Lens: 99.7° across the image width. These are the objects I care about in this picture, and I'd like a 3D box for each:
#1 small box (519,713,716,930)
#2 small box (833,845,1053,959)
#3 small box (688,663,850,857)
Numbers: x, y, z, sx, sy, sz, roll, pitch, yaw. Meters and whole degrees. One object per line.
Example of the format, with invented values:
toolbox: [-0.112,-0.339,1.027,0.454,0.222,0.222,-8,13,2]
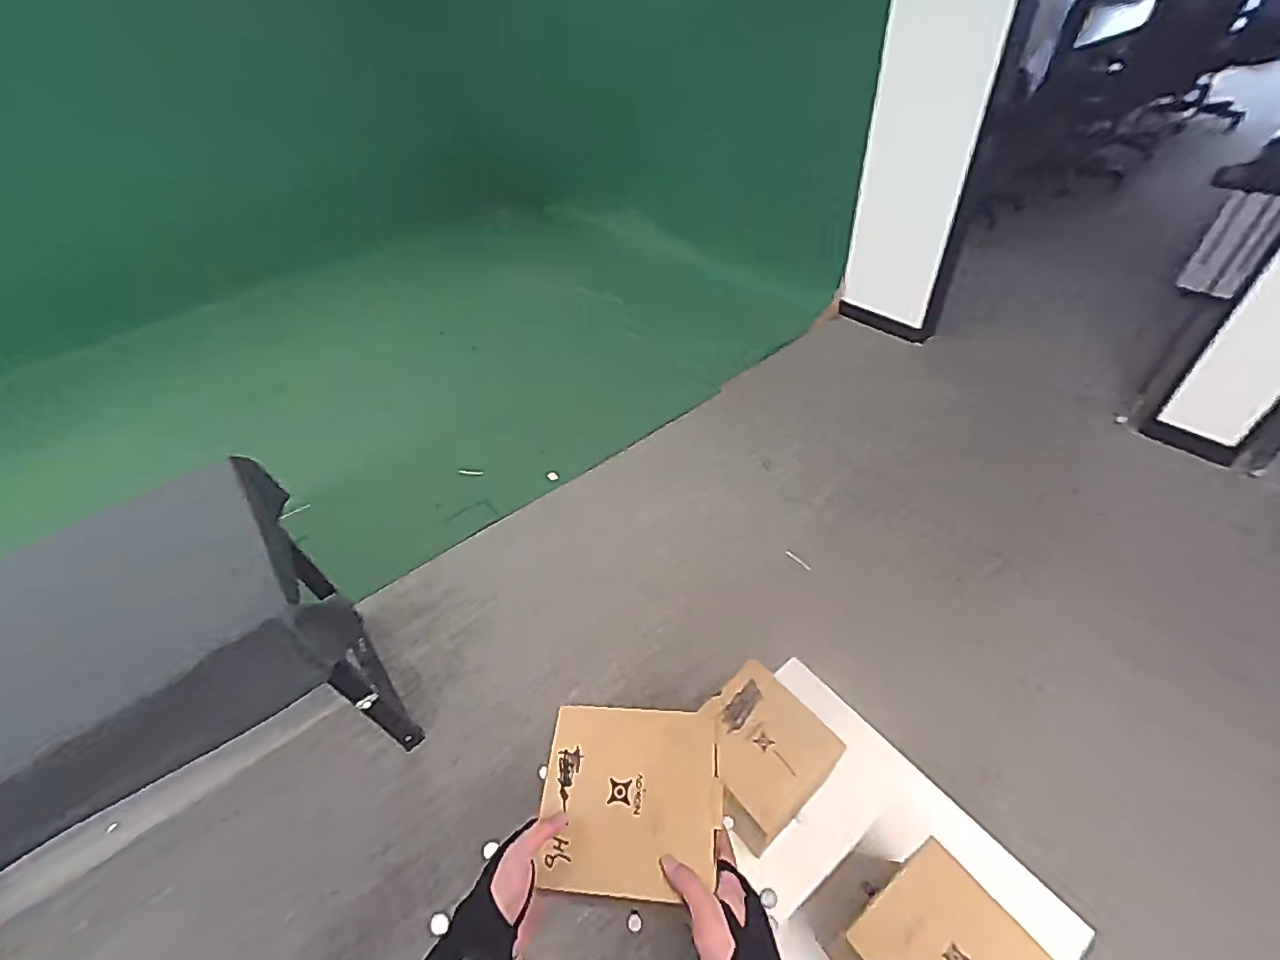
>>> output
small box: [-0.008,0.369,0.583,0.179,0.176,0.168,0,47,8]
small box: [0.353,0.579,0.629,0.168,0.176,0.179,-30,47,-22]
small box: [0.178,0.420,0.810,0.168,0.176,0.179,-33,52,-23]
